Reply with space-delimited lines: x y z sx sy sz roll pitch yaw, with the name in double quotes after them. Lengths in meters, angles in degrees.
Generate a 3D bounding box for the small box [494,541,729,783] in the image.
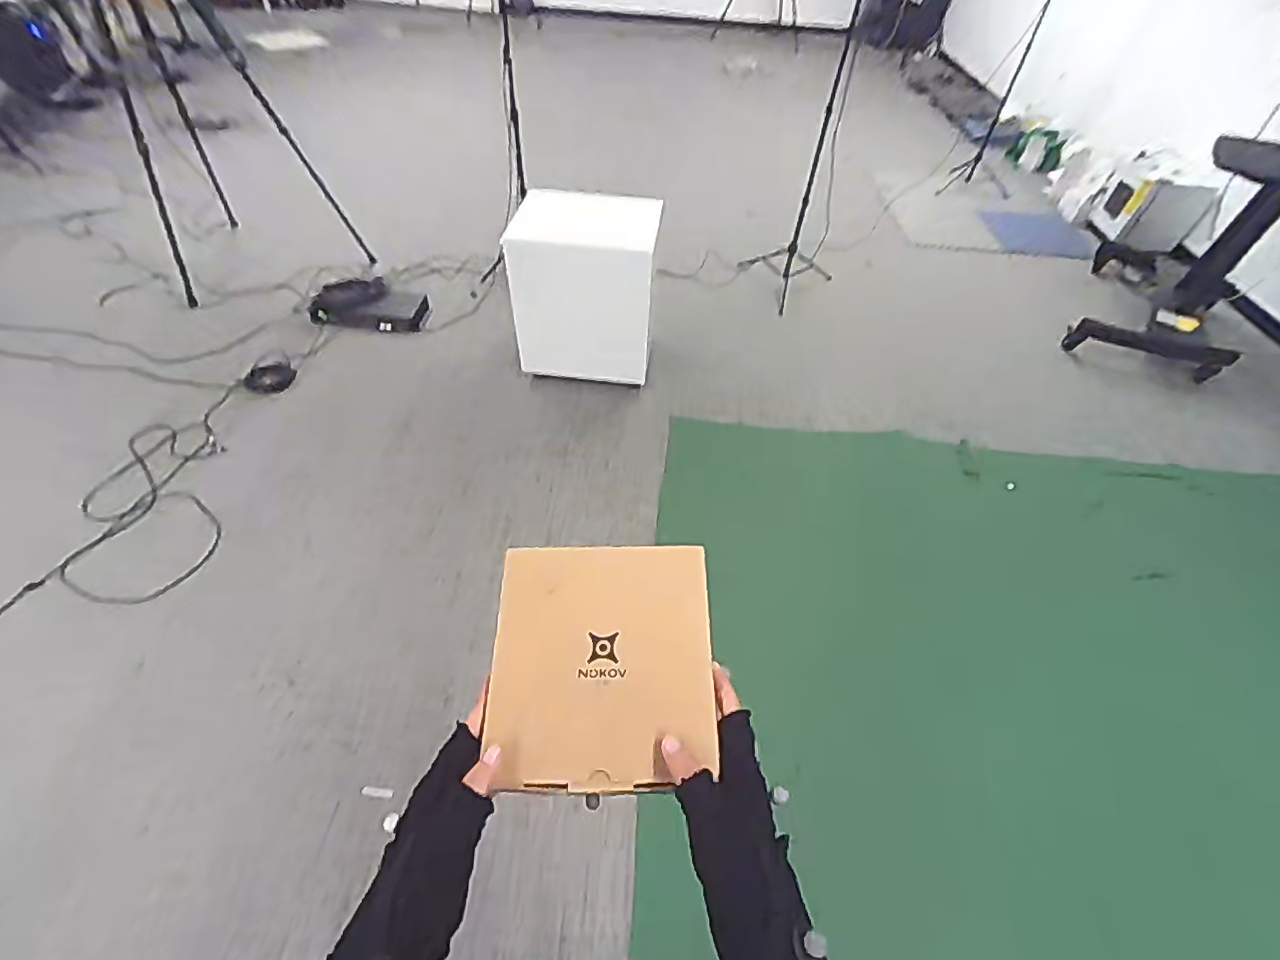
-0.021 0.168 0.481 0.168 0.176 0.179 0 61 -1 "small box"
